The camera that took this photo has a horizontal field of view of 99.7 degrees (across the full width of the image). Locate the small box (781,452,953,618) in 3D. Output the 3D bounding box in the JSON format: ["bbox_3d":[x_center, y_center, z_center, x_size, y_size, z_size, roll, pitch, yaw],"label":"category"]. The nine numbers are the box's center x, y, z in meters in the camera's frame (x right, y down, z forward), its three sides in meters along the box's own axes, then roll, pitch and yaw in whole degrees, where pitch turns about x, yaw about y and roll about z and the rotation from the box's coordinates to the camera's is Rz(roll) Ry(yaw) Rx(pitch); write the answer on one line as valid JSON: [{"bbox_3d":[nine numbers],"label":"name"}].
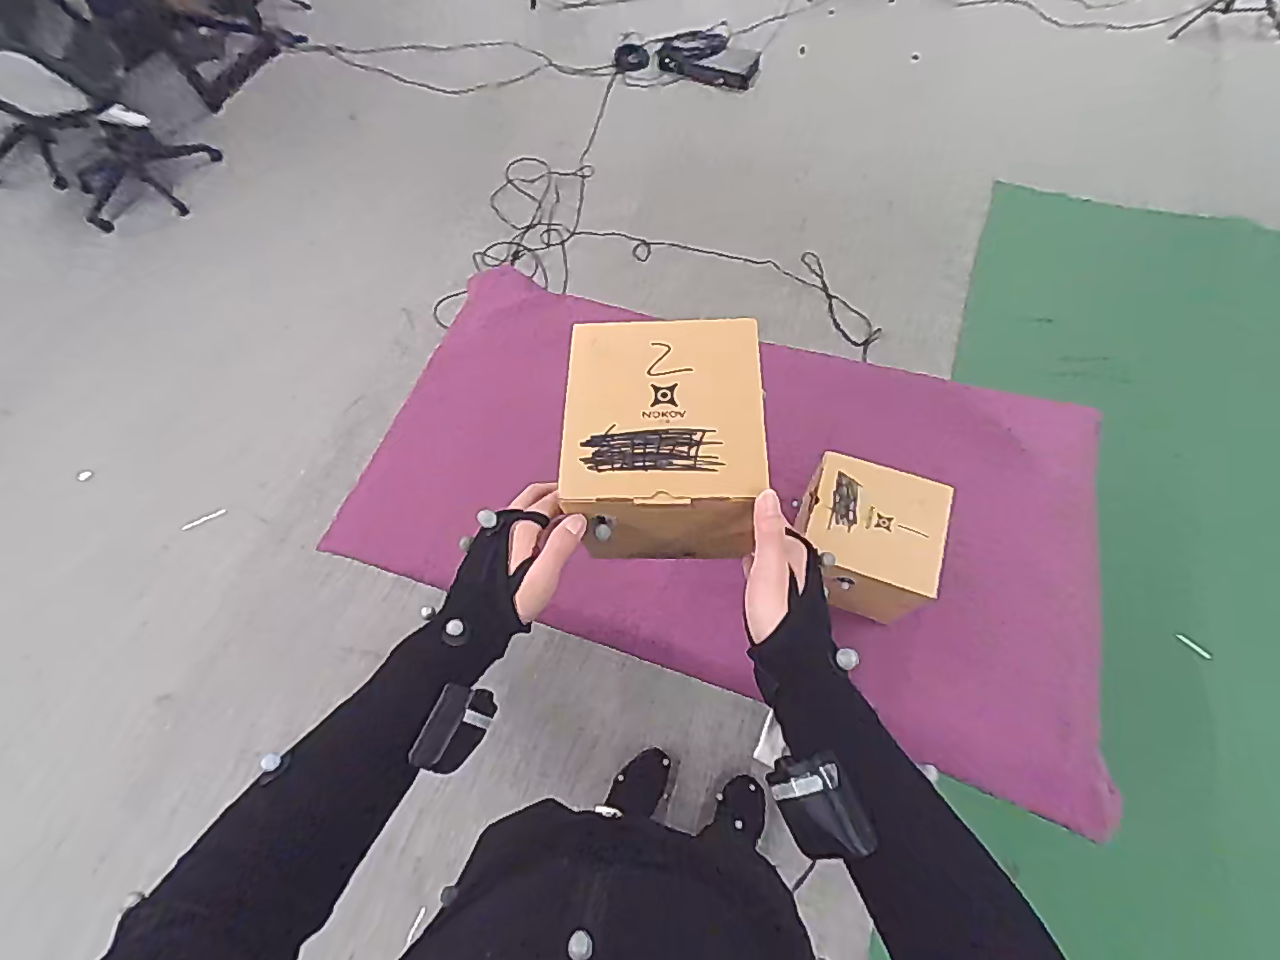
[{"bbox_3d":[0.322,0.088,0.796,0.179,0.176,0.168,19,67,12],"label":"small box"}]
